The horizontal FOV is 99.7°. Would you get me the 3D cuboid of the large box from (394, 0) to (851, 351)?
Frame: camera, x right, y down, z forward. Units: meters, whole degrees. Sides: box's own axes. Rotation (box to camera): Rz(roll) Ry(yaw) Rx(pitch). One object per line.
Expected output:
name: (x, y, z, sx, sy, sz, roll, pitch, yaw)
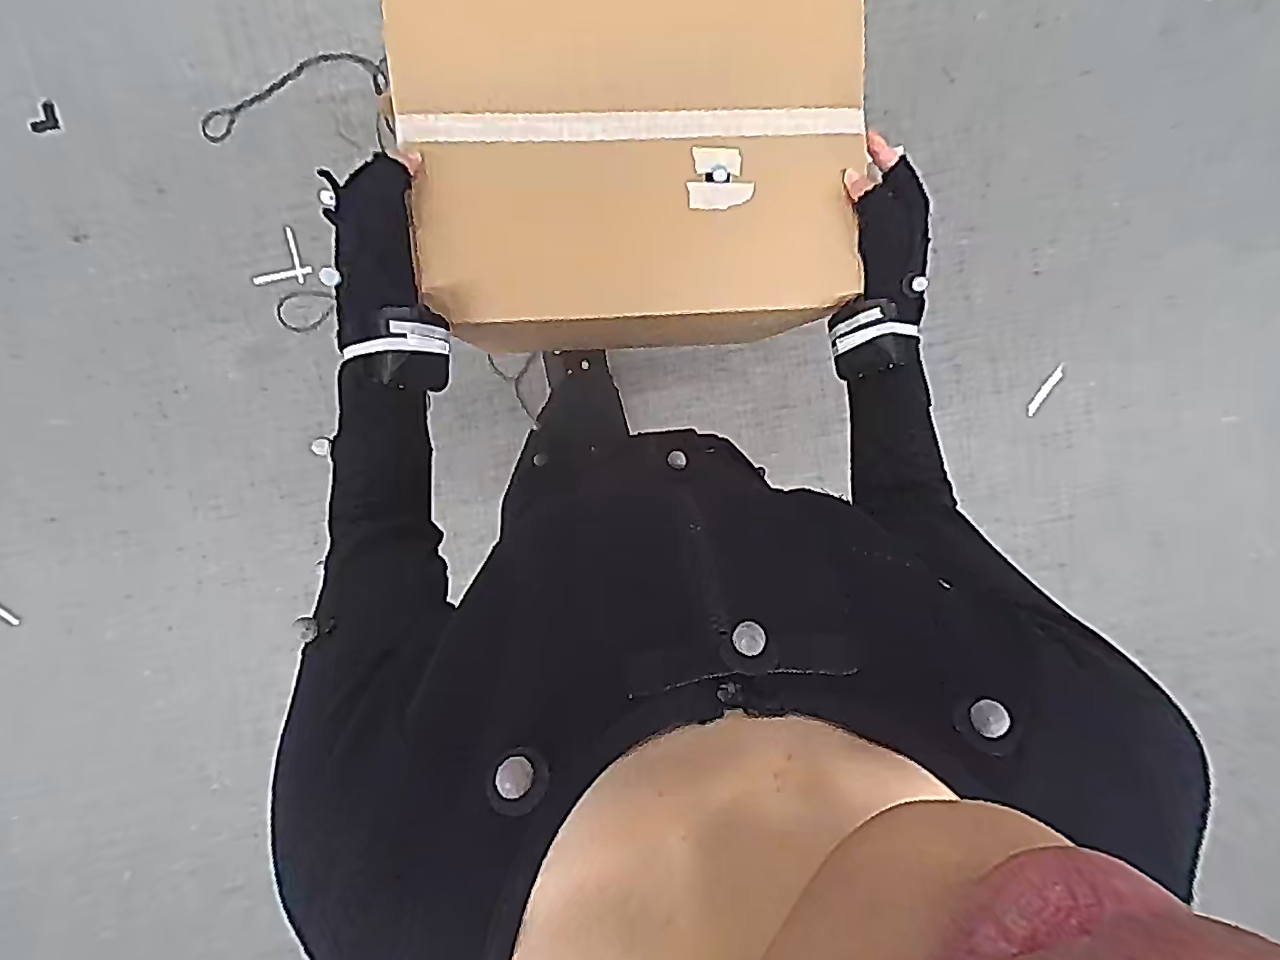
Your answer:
large box: (-0.019, -0.333, 0.632, 0.408, 0.320, 0.320, -4, 99, -6)
